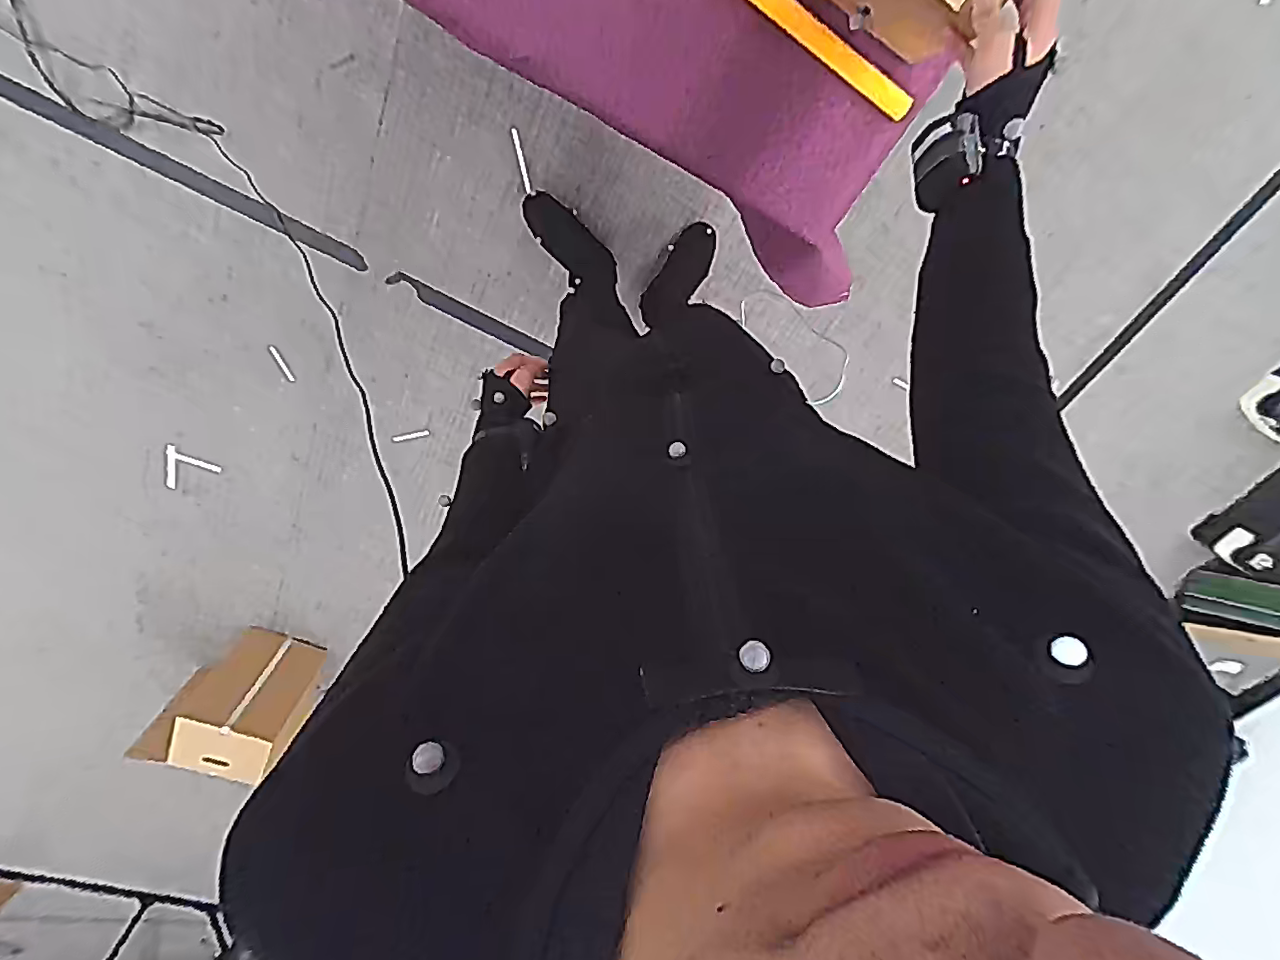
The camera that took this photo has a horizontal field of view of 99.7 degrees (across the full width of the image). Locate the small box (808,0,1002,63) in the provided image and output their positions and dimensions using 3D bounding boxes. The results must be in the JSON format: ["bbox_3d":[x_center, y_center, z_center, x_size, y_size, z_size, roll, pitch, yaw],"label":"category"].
[{"bbox_3d":[0.271,-0.540,0.519,0.179,0.176,0.168,26,118,-14],"label":"small box"}]
